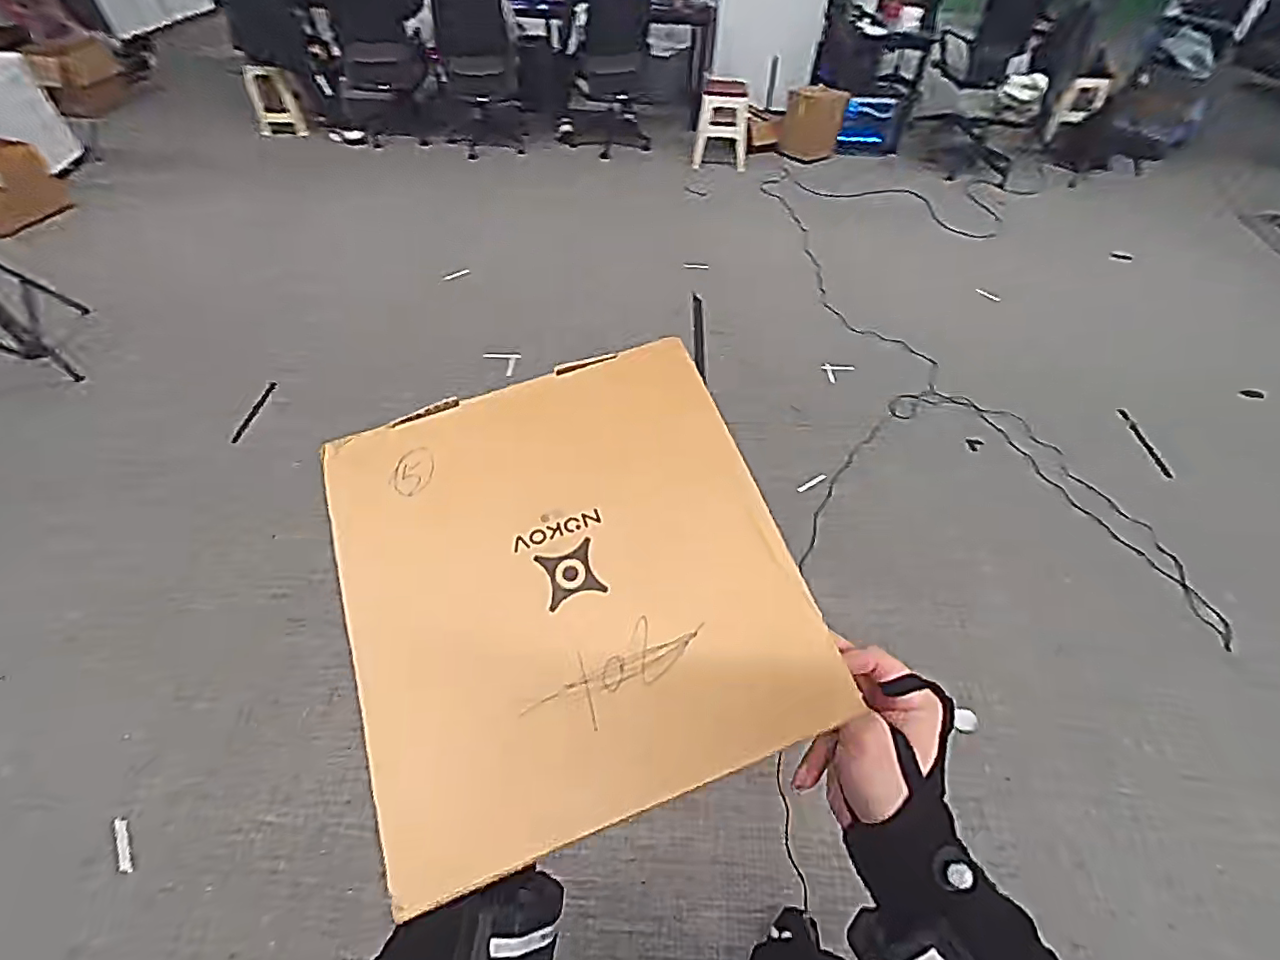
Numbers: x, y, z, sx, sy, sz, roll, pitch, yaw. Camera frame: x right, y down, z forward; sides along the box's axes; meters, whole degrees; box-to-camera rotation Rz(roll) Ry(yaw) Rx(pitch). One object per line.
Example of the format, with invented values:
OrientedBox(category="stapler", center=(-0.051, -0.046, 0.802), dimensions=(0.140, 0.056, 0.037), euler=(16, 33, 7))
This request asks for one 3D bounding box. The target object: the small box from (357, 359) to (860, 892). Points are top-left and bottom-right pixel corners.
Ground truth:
OrientedBox(category="small box", center=(-0.023, 0.071, 0.293), dimensions=(0.168, 0.176, 0.179), euler=(-19, 68, -7))
